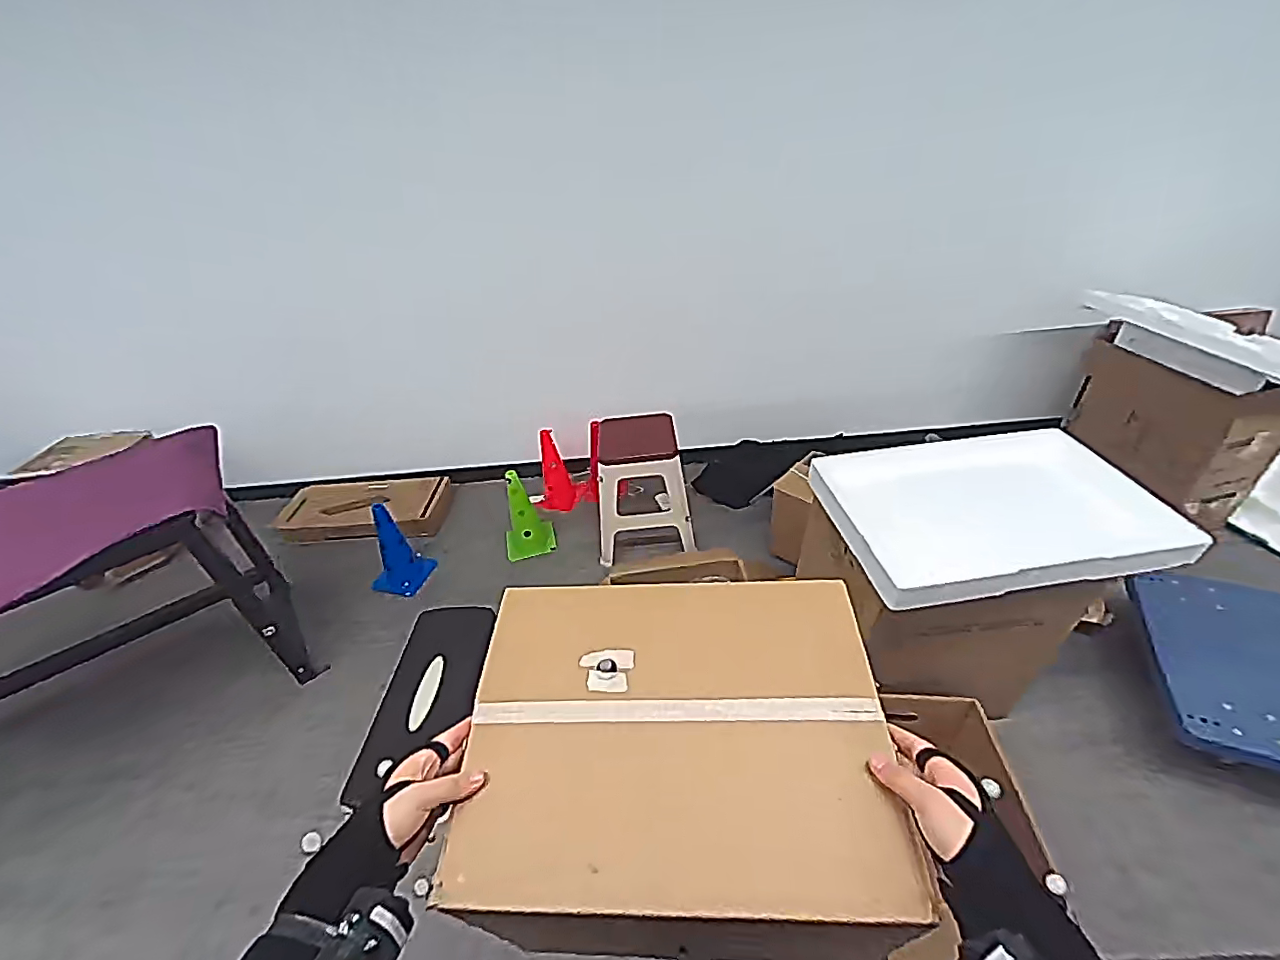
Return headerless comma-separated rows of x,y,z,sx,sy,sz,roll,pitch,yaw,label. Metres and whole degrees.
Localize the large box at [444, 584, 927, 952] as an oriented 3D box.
0.049,0.349,0.648,0.408,0.320,0.320,-4,42,5,large box
